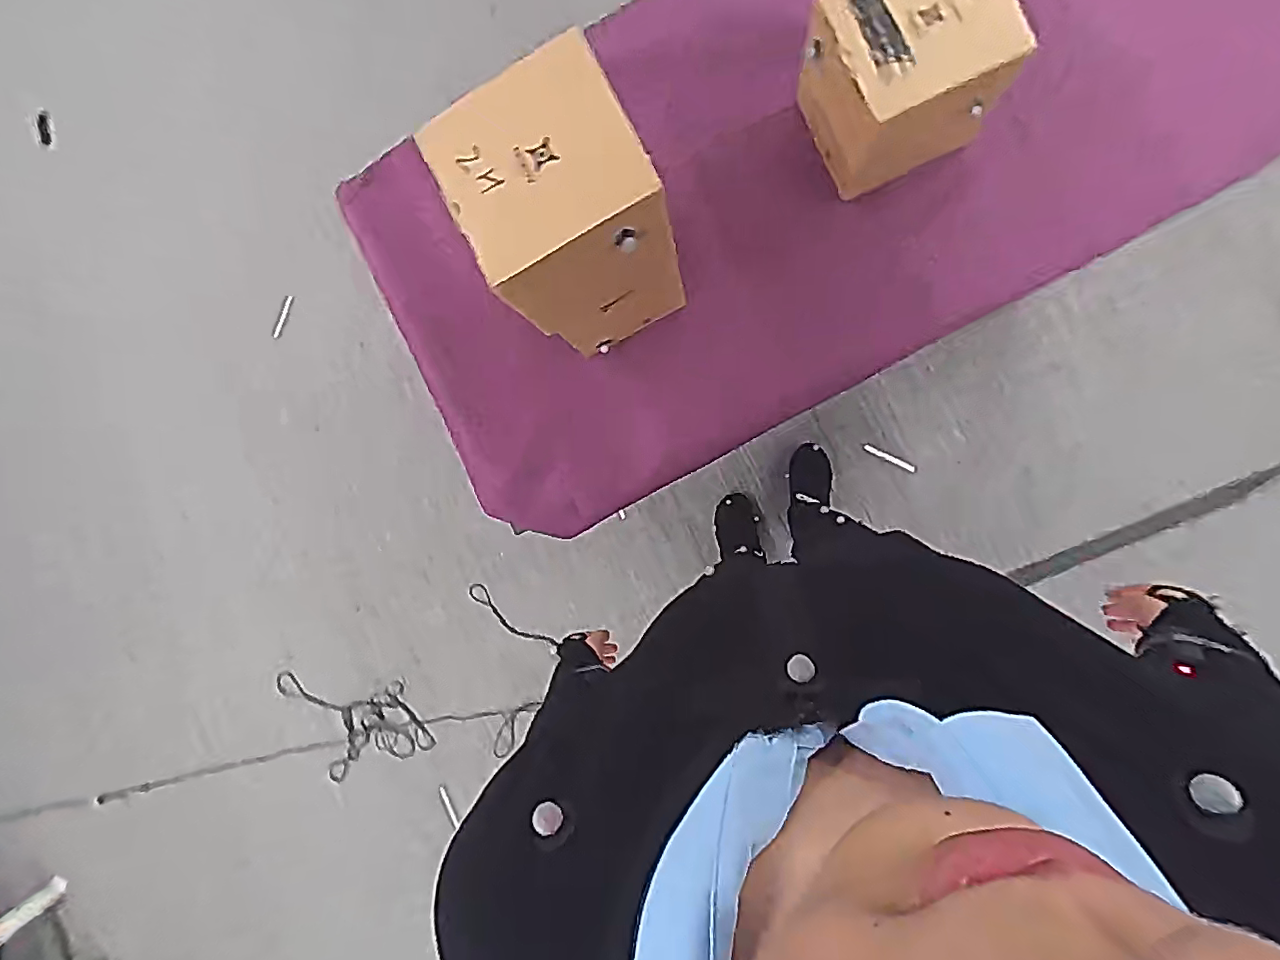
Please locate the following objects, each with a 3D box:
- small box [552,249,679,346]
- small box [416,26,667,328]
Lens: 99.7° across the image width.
[{"bbox_3d":[-0.058,-0.294,0.715,0.168,0.176,0.179,-27,86,8],"label":"small box"},{"bbox_3d":[-0.081,-0.283,0.551,0.179,0.176,0.168,-28,87,8],"label":"small box"}]
